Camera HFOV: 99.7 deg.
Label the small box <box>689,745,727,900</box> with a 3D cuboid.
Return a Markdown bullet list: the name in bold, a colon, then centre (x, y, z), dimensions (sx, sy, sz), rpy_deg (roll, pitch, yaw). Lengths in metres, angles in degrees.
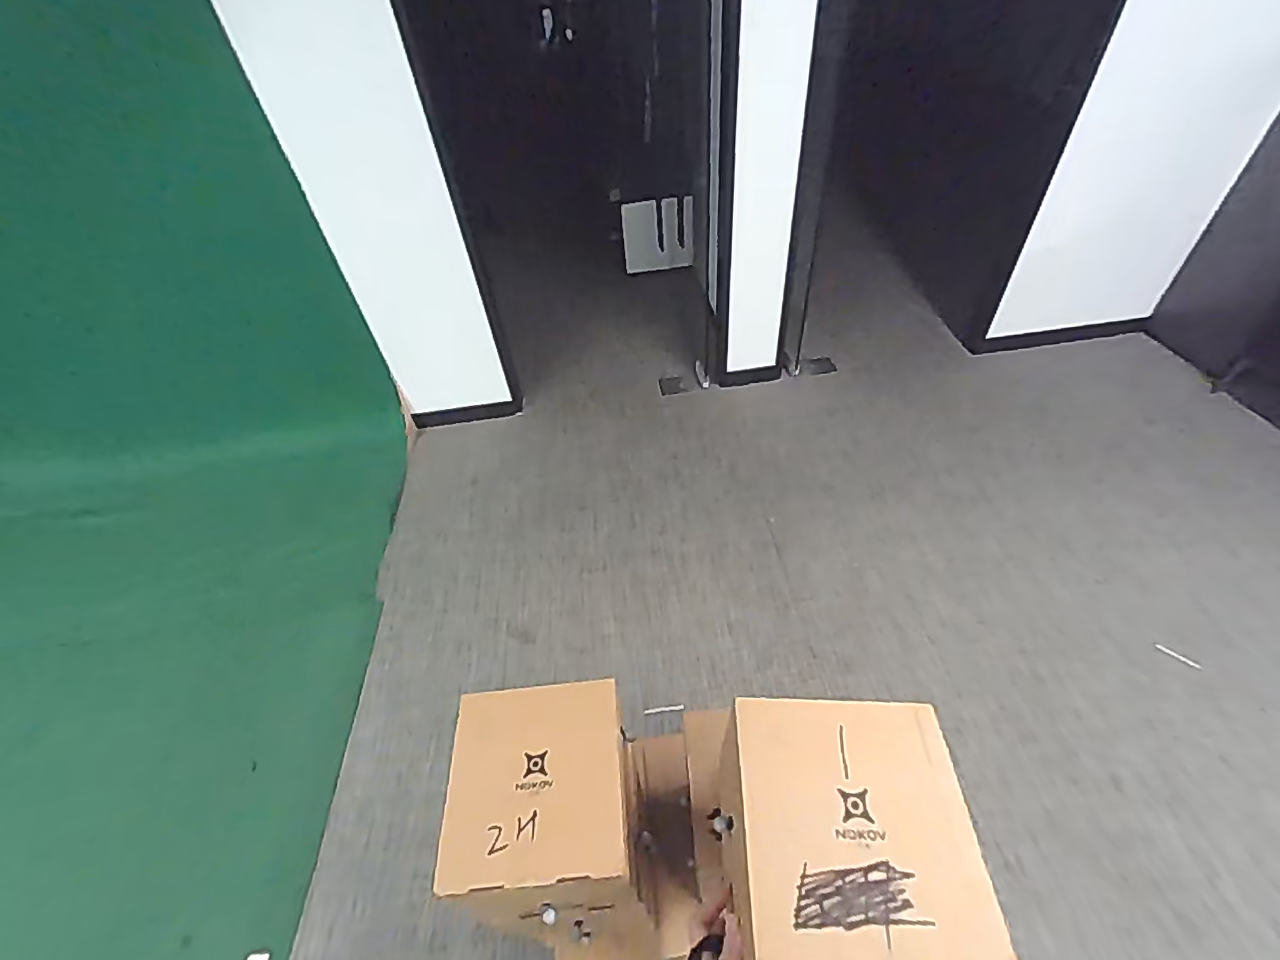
- **small box**: centre (0.168, 0.521, 0.823), dimensions (0.168, 0.176, 0.179), rpy_deg (-6, 45, 2)

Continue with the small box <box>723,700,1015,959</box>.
- **small box**: centre (0.159, 0.303, 0.444), dimensions (0.168, 0.176, 0.179), rpy_deg (1, 46, 3)

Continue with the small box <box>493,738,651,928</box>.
- **small box**: centre (-0.078, 0.454, 0.692), dimensions (0.168, 0.176, 0.179), rpy_deg (-6, 47, -1)

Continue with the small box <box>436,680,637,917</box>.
- **small box**: centre (-0.094, 0.338, 0.575), dimensions (0.168, 0.176, 0.179), rpy_deg (-6, 46, 0)

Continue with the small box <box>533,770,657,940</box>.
- **small box**: centre (-0.066, 0.563, 0.813), dimensions (0.168, 0.176, 0.179), rpy_deg (-7, 47, -1)
